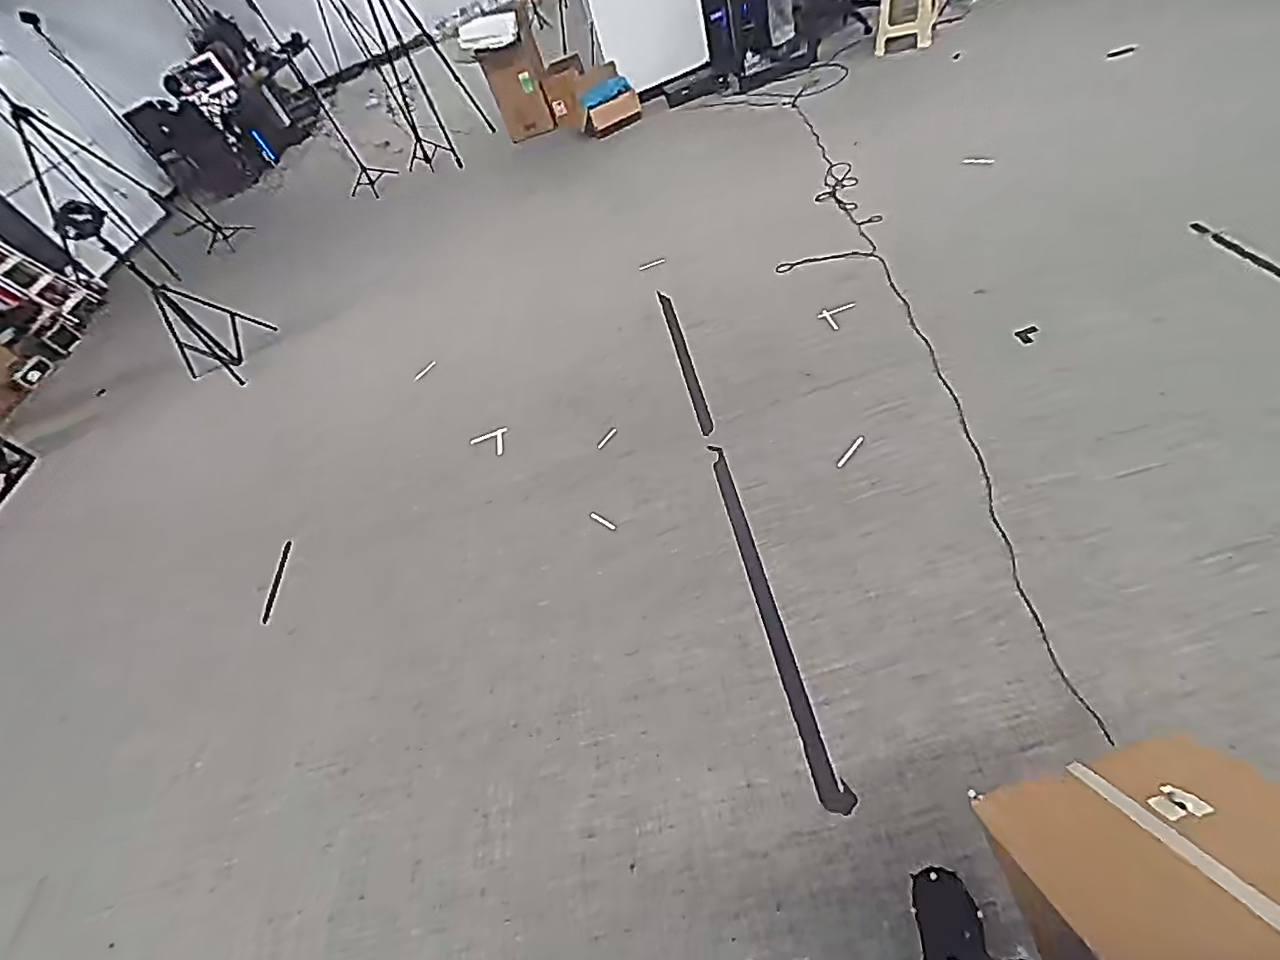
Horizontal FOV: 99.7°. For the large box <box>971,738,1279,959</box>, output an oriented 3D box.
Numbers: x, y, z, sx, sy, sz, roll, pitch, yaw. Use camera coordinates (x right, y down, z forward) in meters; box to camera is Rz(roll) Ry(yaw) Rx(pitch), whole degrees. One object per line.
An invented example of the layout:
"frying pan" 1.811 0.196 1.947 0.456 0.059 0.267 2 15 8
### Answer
"large box" 0.673 0.561 0.593 0.320 0.408 0.320 -23 84 6
